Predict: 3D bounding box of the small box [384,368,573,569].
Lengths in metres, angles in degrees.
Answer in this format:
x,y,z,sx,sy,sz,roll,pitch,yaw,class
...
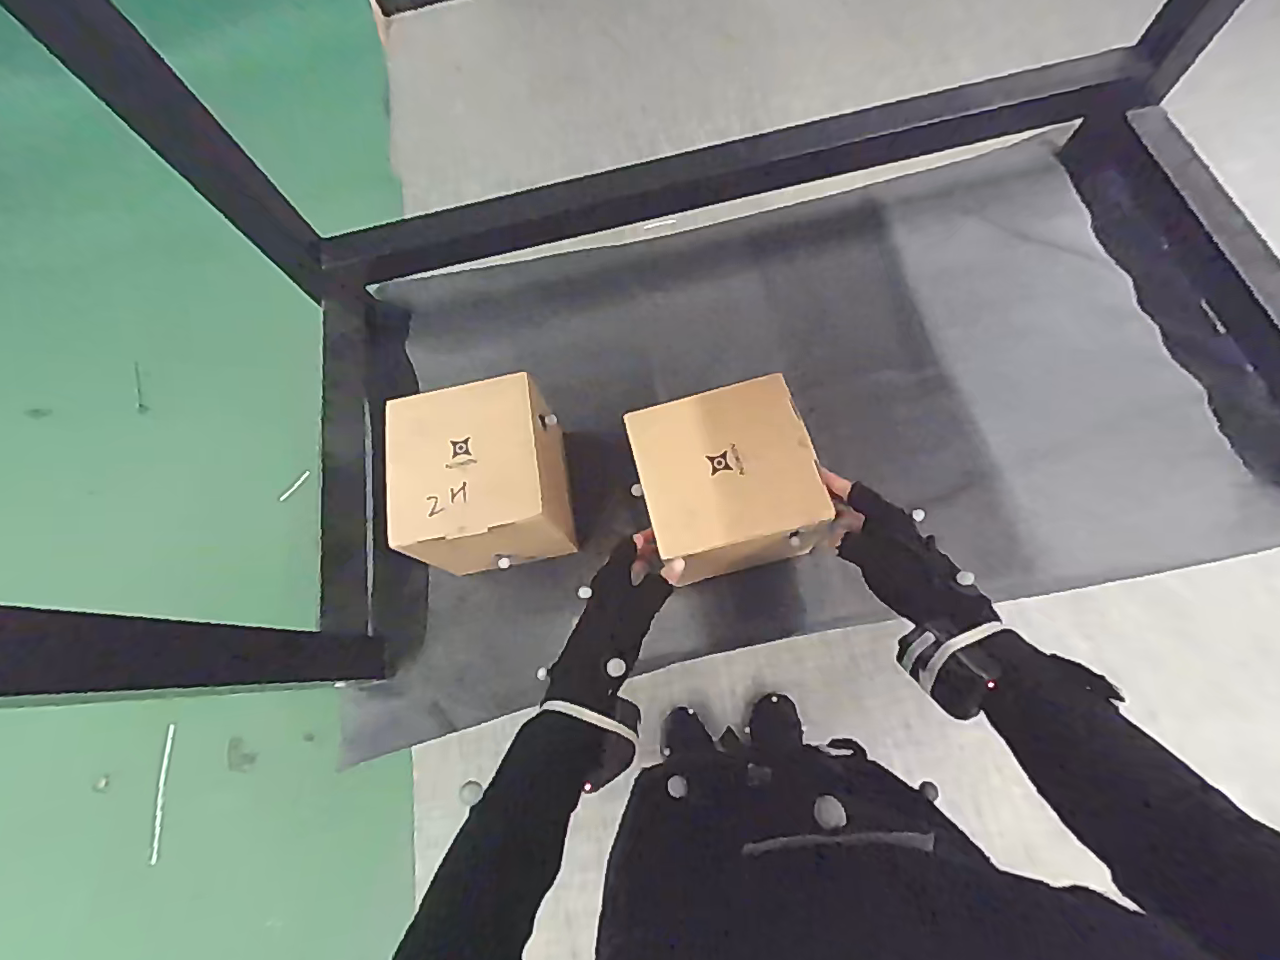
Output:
x,y,z,sx,sy,sz,roll,pitch,yaw,class
-0.185,-0.005,0.653,0.168,0.176,0.179,-12,69,3,small box
